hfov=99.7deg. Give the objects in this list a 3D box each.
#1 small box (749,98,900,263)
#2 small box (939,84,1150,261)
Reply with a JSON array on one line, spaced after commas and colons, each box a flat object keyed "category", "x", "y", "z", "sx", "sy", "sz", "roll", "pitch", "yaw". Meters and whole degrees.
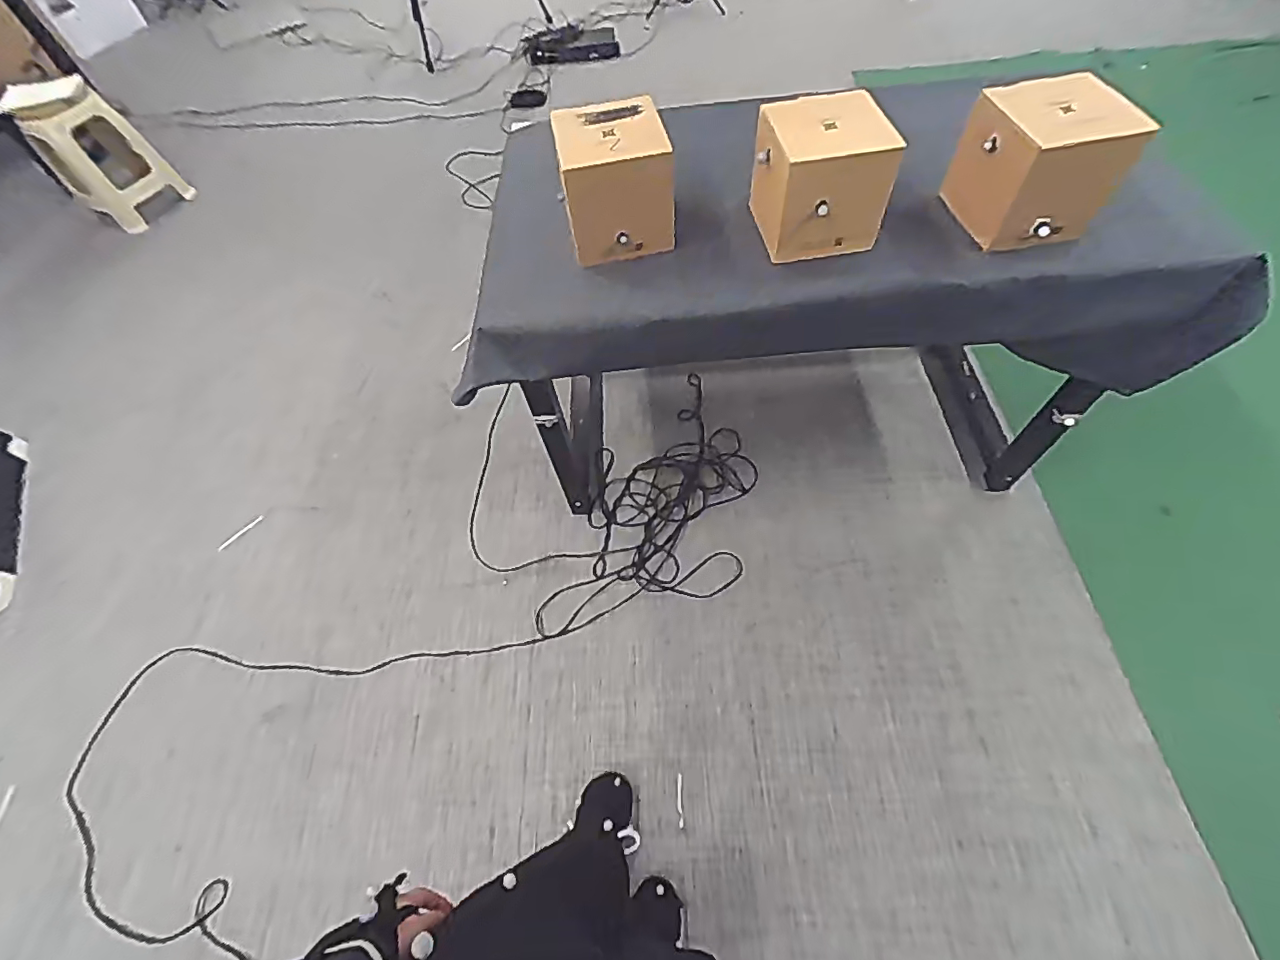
[{"category": "small box", "x": 0.279, "y": -0.467, "z": 0.861, "sx": 0.168, "sy": 0.176, "sz": 0.179, "roll": -8, "pitch": 57, "yaw": -1}, {"category": "small box", "x": 0.604, "y": -0.474, "z": 0.841, "sx": 0.168, "sy": 0.176, "sz": 0.179, "roll": -10, "pitch": 59, "yaw": 0}]
